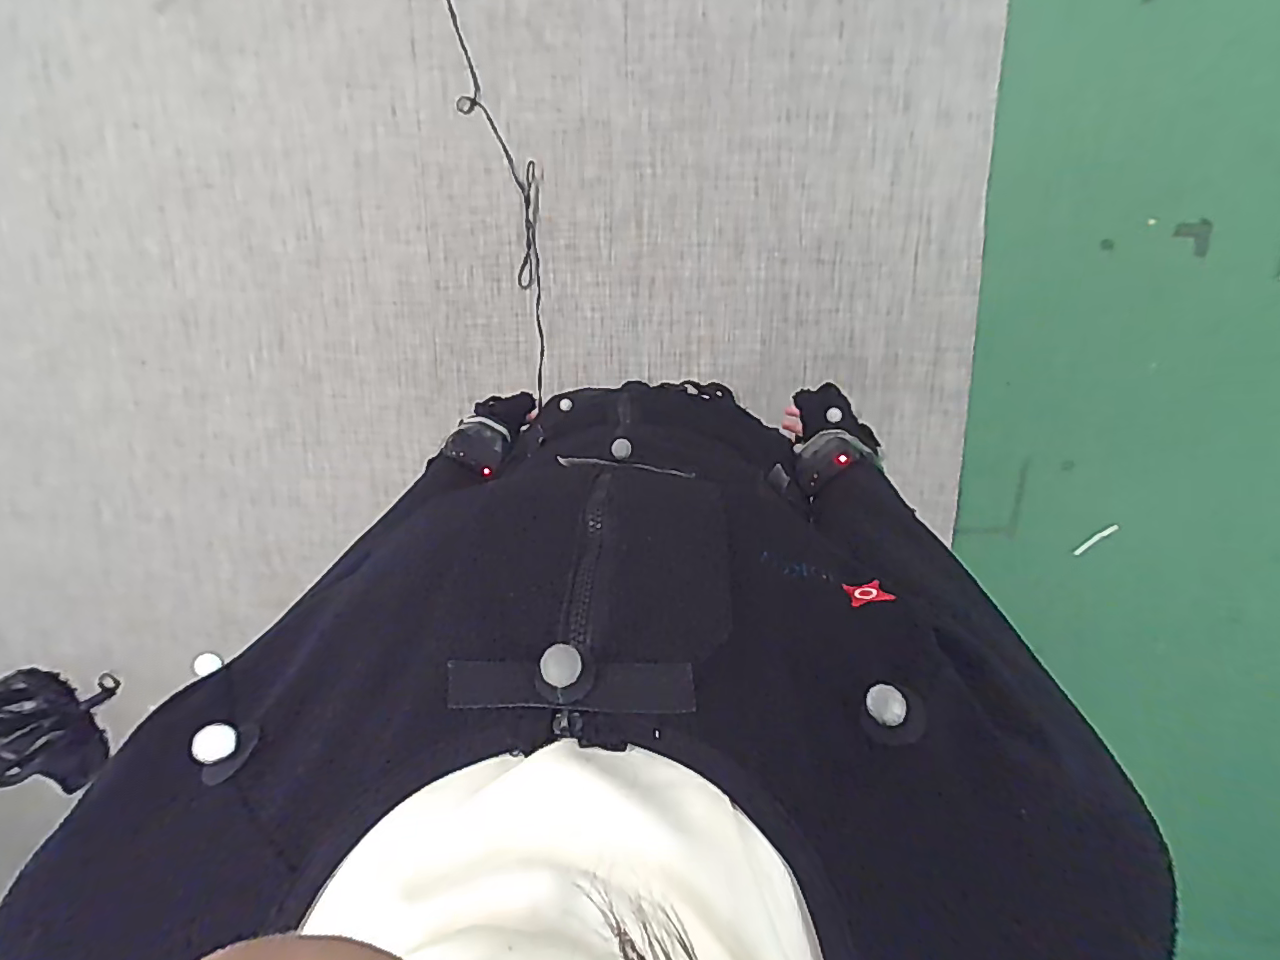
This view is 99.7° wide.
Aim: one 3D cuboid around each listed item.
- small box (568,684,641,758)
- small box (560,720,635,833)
[{"bbox_3d":[-0.093,0.680,1.484,0.179,0.176,0.168,3,101,4],"label":"small box"},{"bbox_3d":[-0.100,0.720,1.326,0.168,0.176,0.179,2,99,2],"label":"small box"}]
